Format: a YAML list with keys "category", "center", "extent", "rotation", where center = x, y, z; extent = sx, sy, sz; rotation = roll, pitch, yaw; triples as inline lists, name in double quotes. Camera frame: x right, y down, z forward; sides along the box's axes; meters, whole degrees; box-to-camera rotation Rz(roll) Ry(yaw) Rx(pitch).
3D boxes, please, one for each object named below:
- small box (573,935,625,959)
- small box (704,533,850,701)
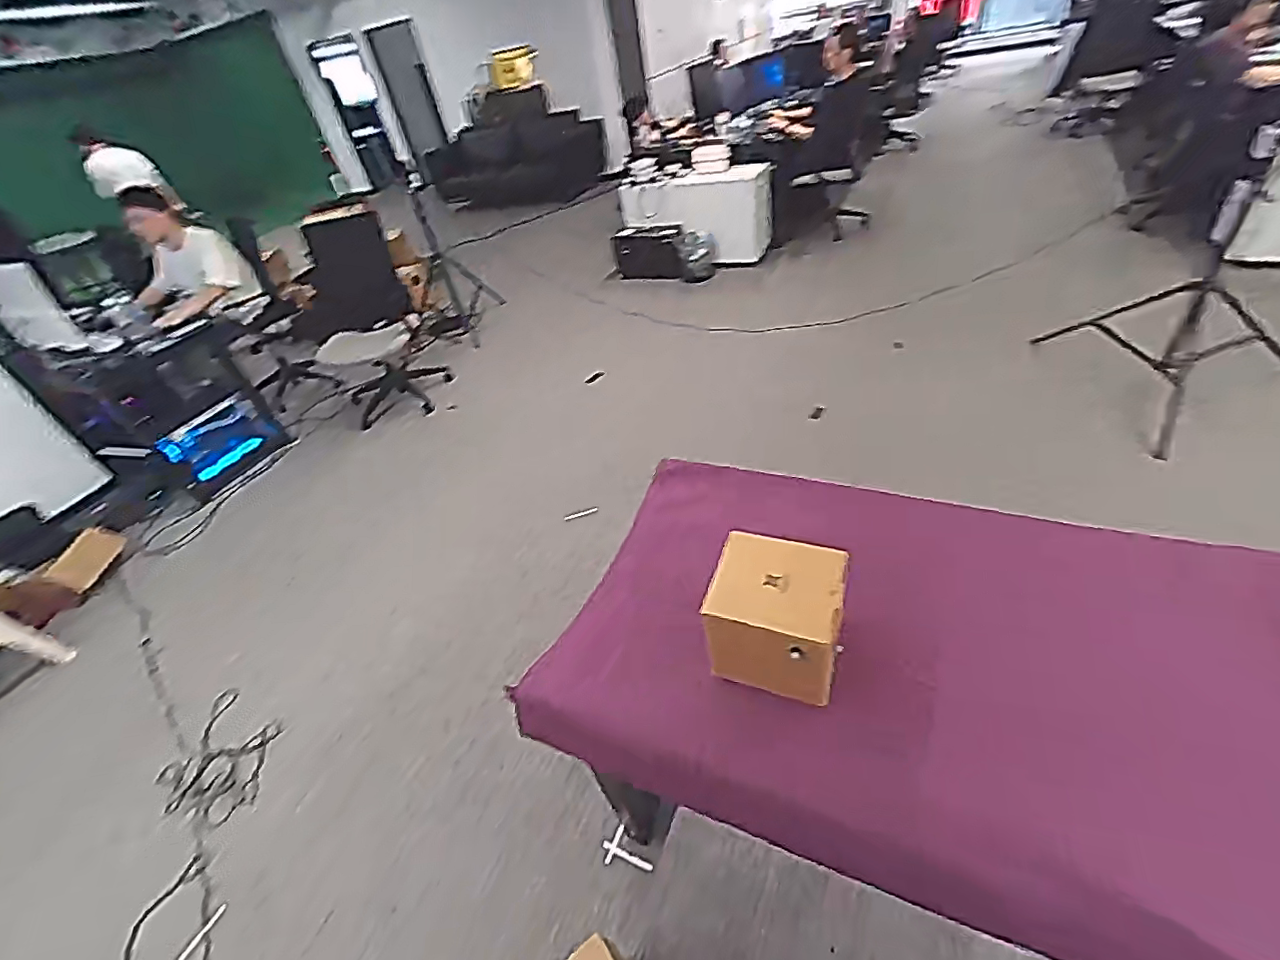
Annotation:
- category: "small box"
  center: [-0.076, 0.938, 0.923]
  extent: [0.179, 0.176, 0.168]
  rotation: [-32, 44, -20]
- category: "small box"
  center: [0.211, 0.208, 0.825]
  extent: [0.179, 0.176, 0.168]
  rotation: [9, 44, 23]
